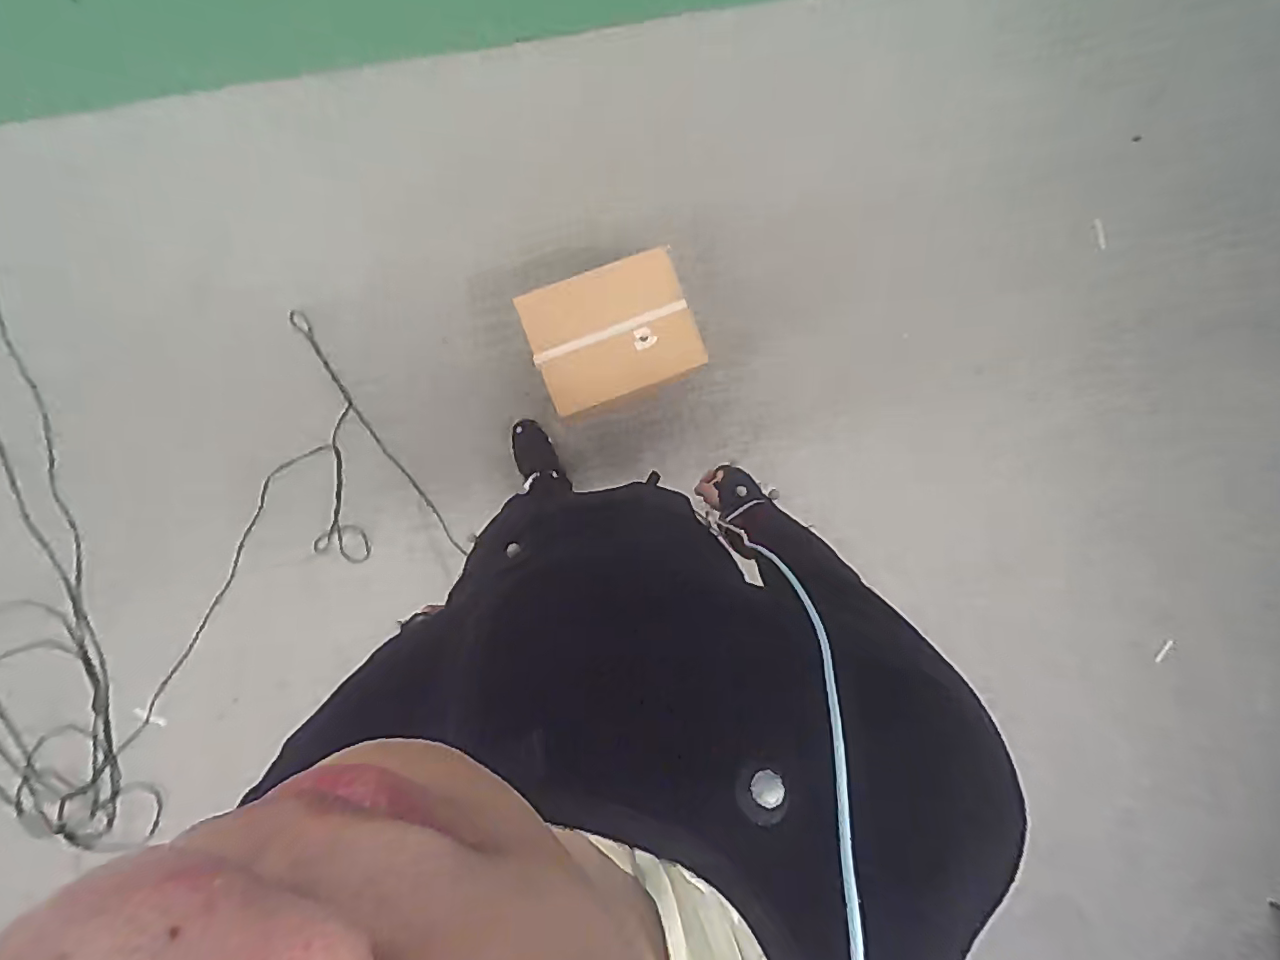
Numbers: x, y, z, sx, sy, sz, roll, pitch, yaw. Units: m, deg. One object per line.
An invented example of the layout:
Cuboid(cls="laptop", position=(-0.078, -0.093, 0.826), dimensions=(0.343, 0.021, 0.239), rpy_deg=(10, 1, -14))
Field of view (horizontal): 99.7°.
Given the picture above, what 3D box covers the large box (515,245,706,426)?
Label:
Cuboid(cls="large box", position=(-0.085, -0.372, 1.481), dimensions=(0.408, 0.320, 0.320), rpy_deg=(-22, 93, -5))
